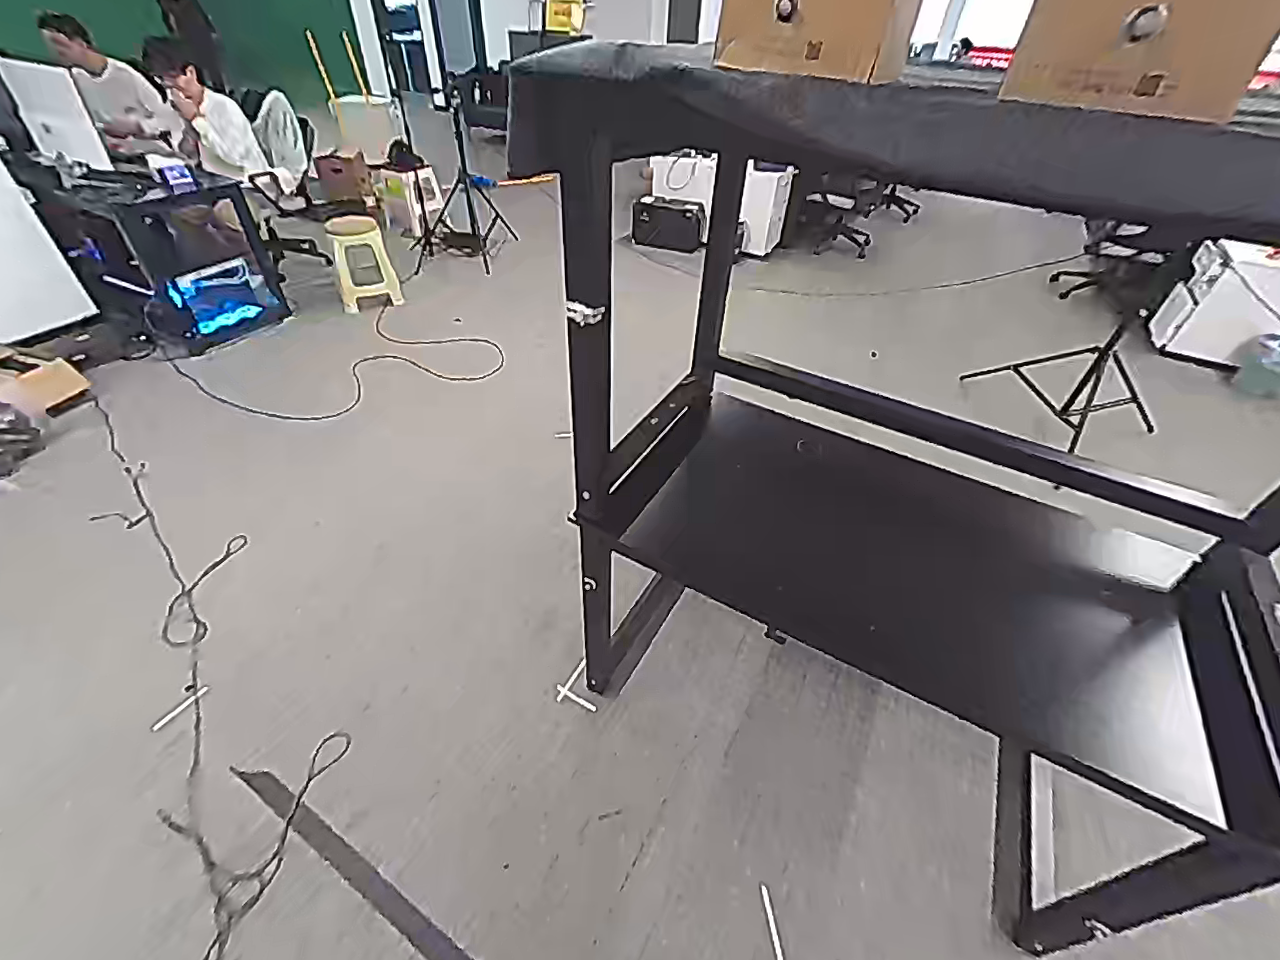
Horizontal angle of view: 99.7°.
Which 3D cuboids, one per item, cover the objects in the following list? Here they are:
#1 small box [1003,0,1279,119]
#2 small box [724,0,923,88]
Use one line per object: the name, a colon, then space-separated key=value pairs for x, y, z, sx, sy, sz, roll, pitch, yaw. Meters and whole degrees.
small box: x=0.435 y=-0.418 z=0.454 sx=0.168 sy=0.176 sz=0.179 roll=23 pitch=43 yaw=22
small box: x=0.198 y=-0.514 z=0.549 sx=0.168 sy=0.176 sz=0.179 roll=23 pitch=44 yaw=19
